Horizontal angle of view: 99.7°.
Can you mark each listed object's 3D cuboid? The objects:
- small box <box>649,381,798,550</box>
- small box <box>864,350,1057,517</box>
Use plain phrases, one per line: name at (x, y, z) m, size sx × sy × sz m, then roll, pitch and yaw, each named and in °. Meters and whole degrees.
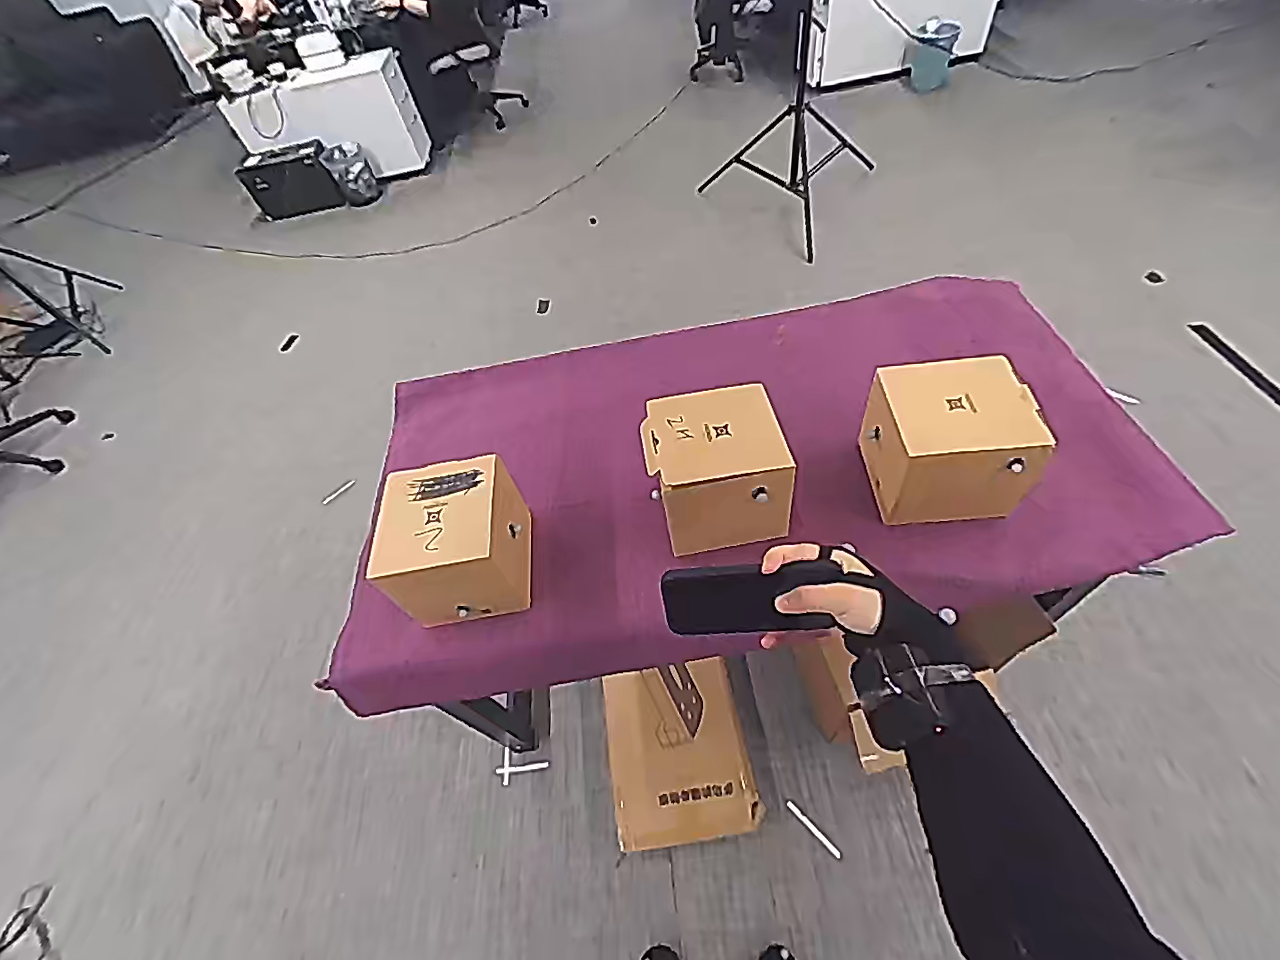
small box at (0.118, -0.017, 0.799) m, size 0.179 × 0.176 × 0.168 m, roll -11°, pitch 50°, yaw 2°
small box at (0.433, -0.059, 0.774) m, size 0.179 × 0.176 × 0.168 m, roll -5°, pitch 53°, yaw 6°
